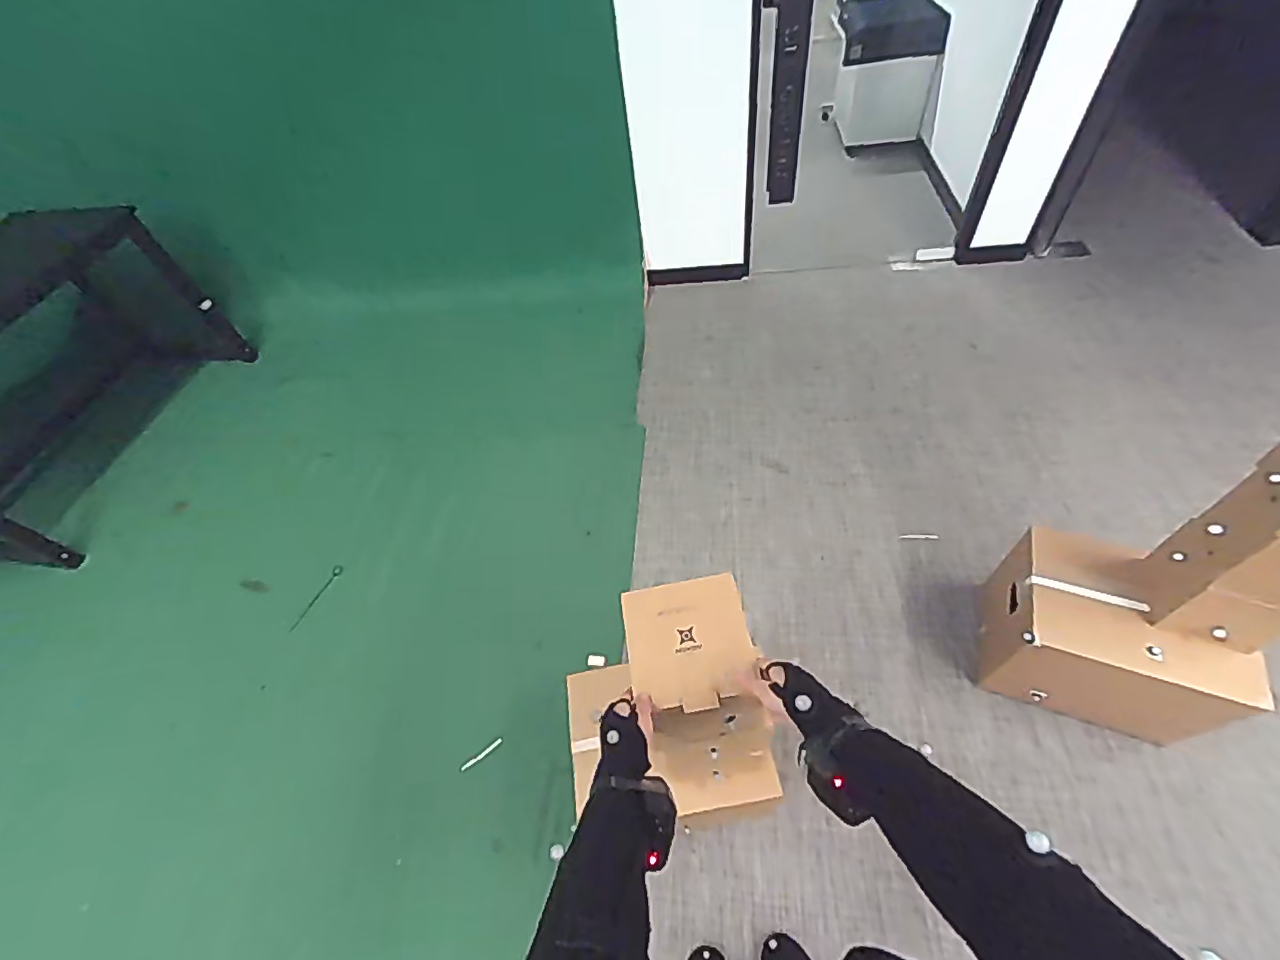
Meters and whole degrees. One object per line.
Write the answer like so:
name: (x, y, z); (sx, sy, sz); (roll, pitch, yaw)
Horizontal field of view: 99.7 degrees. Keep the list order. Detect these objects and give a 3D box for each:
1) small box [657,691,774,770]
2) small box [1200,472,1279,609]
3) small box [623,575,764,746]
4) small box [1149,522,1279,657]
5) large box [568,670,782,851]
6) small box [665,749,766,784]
small box: (0.112, 0.370, 0.905); (0.179, 0.176, 0.168); (-12, 51, 2)
small box: (1.151, 0.118, 0.944); (0.179, 0.176, 0.168); (16, 55, 21)
small box: (0.077, 0.266, 0.777); (0.168, 0.176, 0.179); (-11, 47, 2)
small box: (1.161, 0.218, 1.072); (0.168, 0.176, 0.179); (15, 55, 20)
large box: (0.078, 0.622, 1.238); (0.408, 0.320, 0.320); (-12, 51, 1)
small box: (0.132, 0.470, 1.034); (0.179, 0.176, 0.168); (-8, 51, 3)
